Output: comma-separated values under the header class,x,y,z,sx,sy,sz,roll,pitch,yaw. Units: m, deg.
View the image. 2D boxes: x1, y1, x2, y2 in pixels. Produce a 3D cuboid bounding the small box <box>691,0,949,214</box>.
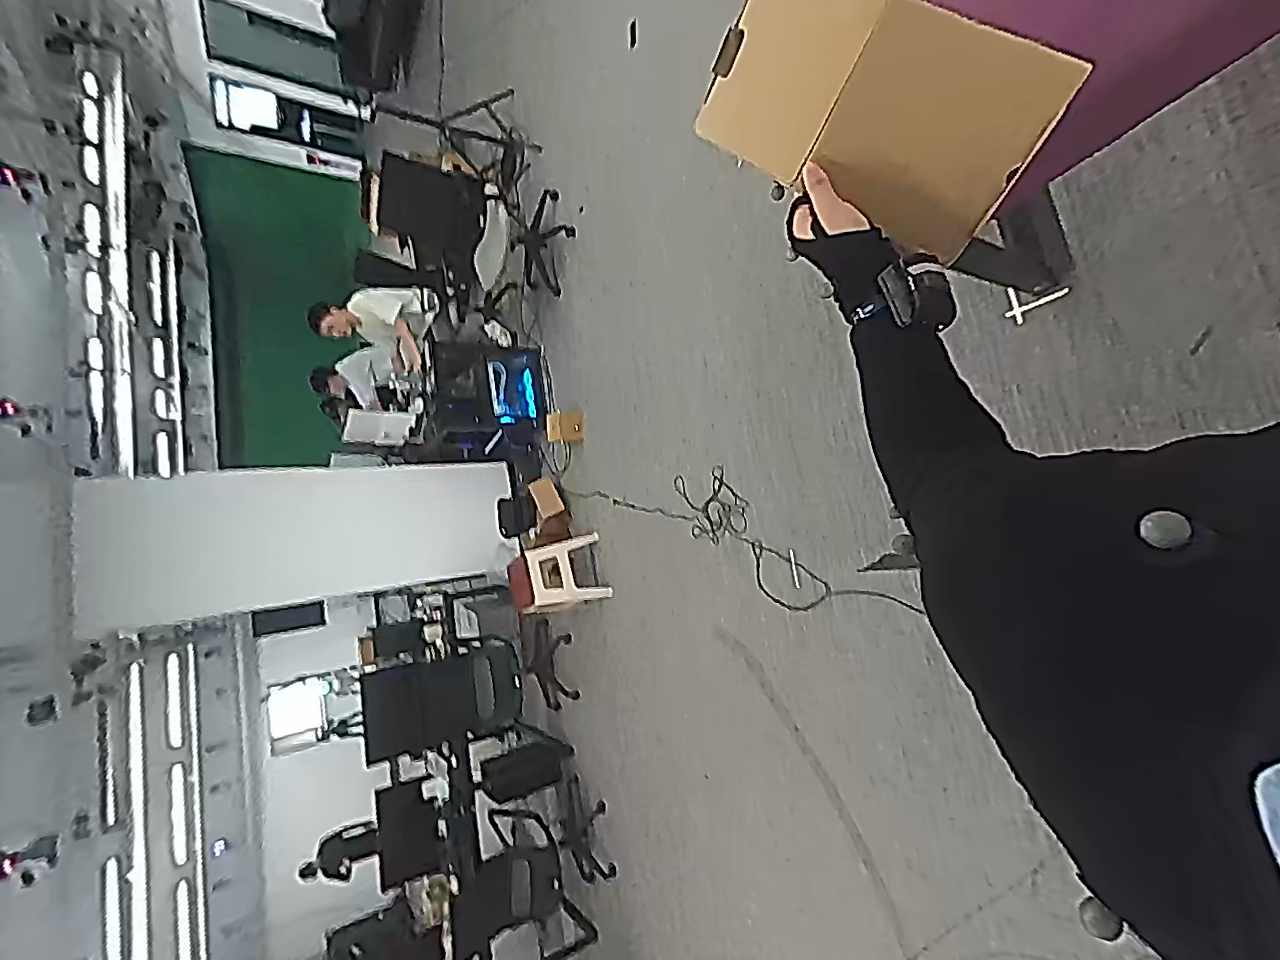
class,x,y,z,sx,sy,sz,roll,pitch,yaw
small box,0.196,-0.419,0.599,0.179,0.176,0.168,53,129,31
